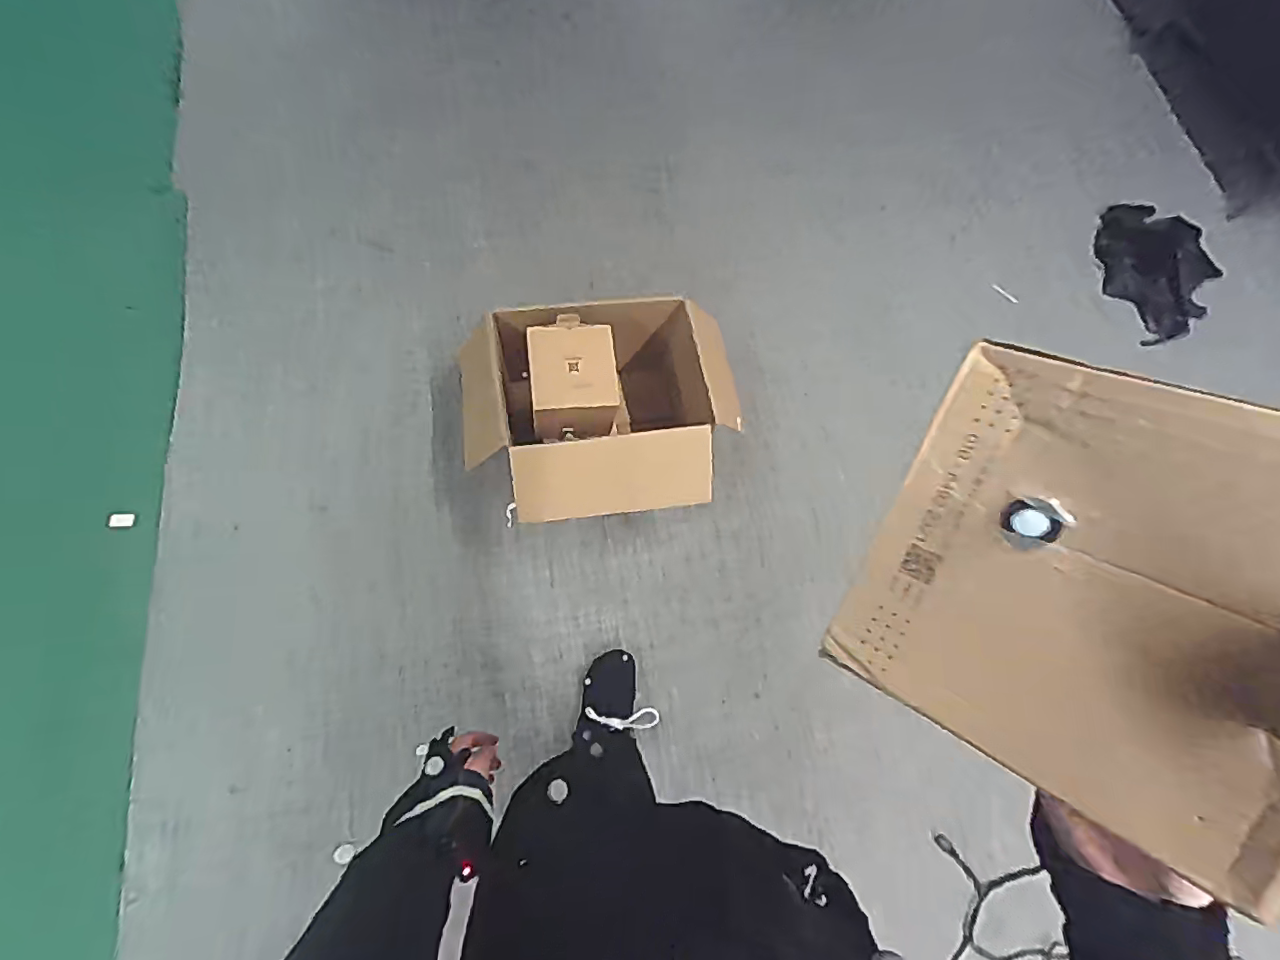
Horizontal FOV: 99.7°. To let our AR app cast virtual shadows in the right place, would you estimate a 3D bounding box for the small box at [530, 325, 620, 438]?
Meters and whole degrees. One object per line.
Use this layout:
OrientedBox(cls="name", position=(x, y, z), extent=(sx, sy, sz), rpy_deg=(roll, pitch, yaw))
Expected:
OrientedBox(cls="small box", position=(-0.139, -0.197, 1.106), extent=(0.168, 0.176, 0.179), rpy_deg=(-4, 75, -11))
